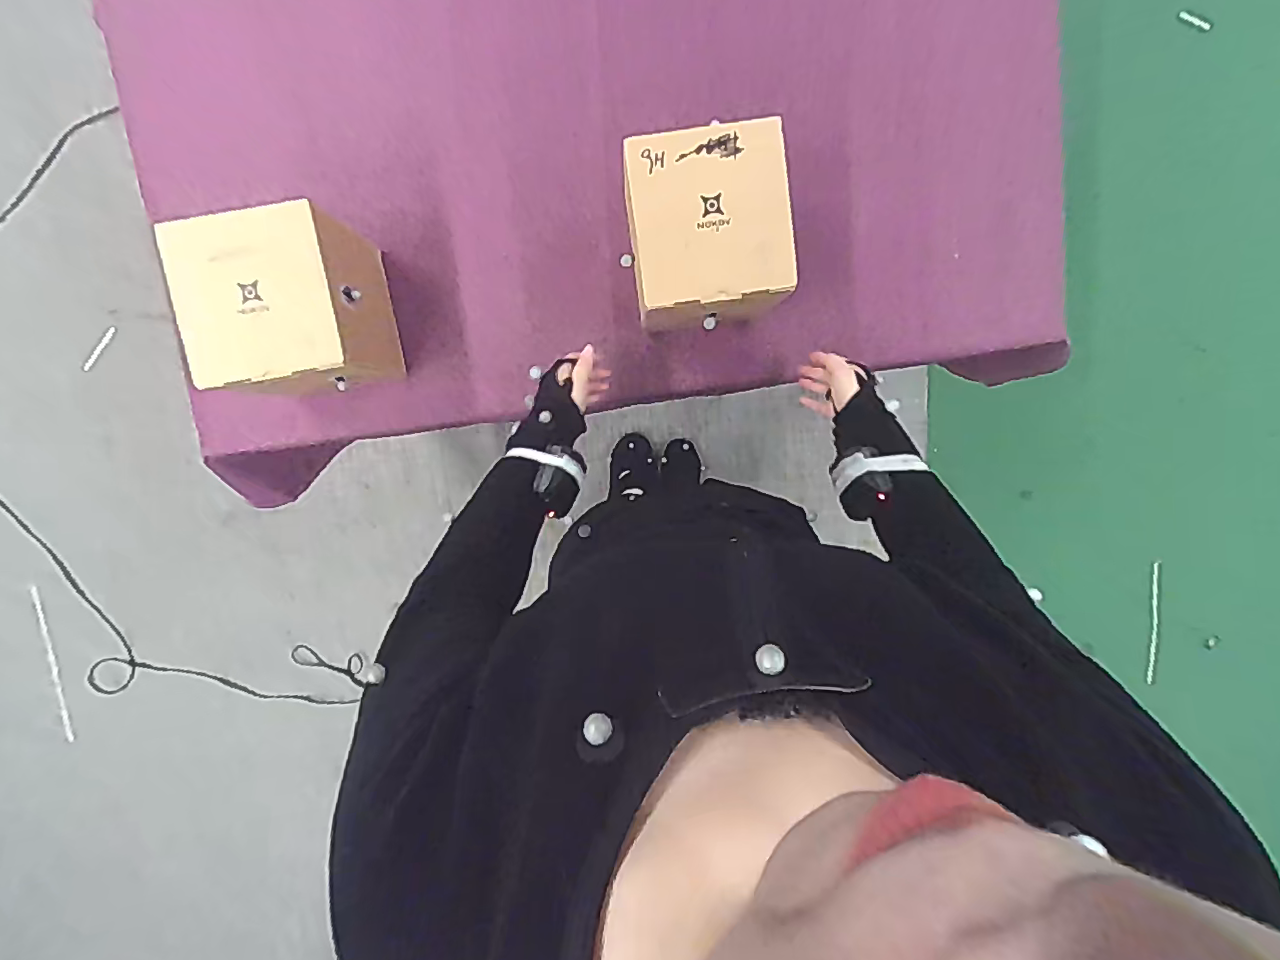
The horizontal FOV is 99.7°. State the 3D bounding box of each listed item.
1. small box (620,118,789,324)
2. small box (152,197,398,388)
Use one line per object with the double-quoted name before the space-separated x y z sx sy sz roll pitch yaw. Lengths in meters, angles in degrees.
"small box" 0.070 -0.290 0.647 0.168 0.176 0.179 -8 98 0
"small box" -0.414 -0.208 0.648 0.168 0.176 0.179 -9 96 -1
